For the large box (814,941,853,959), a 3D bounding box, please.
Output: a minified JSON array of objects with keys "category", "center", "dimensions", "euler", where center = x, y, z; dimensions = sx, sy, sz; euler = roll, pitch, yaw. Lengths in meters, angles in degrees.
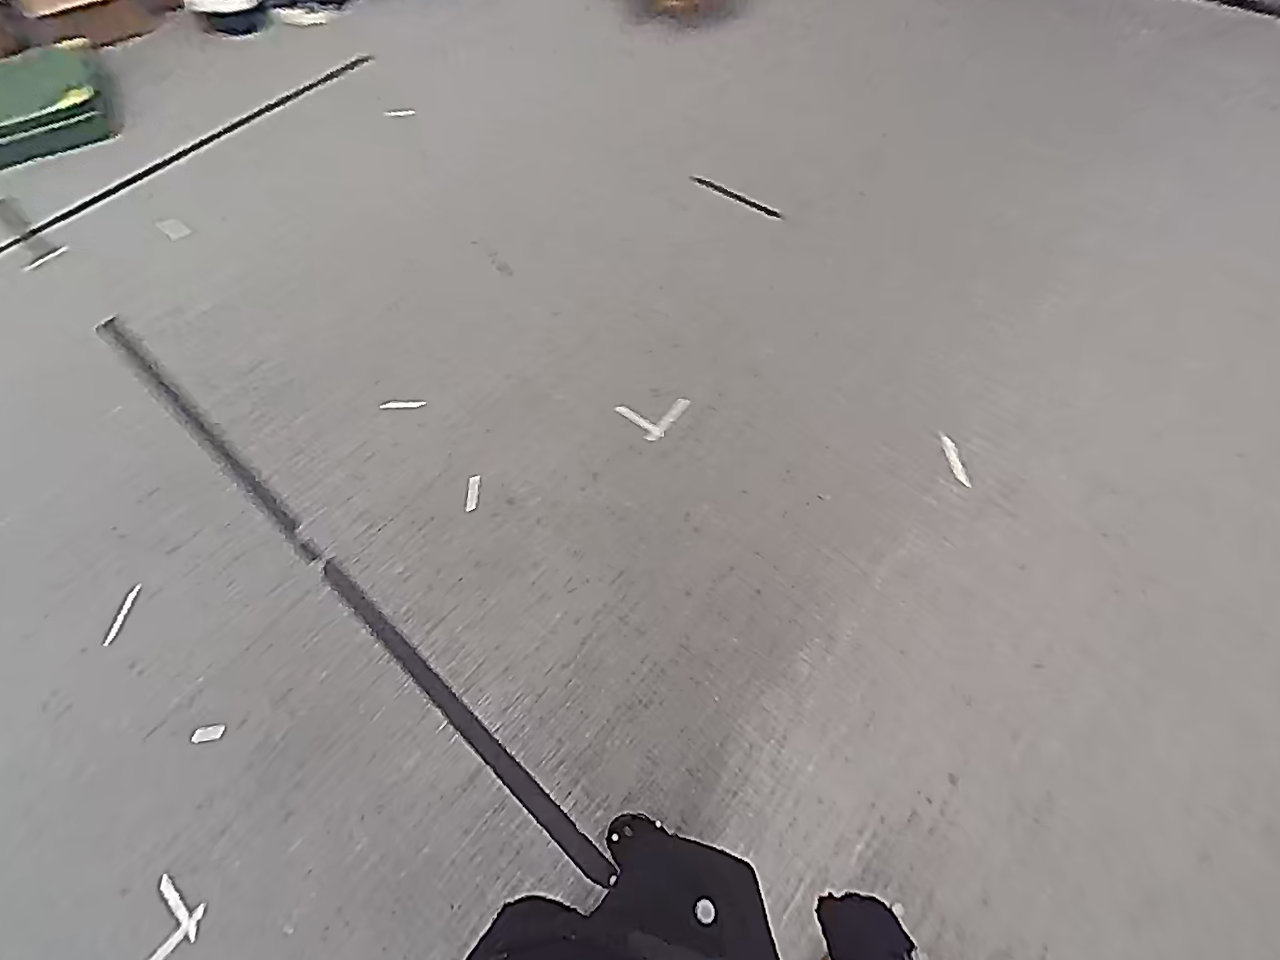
[{"category":"large box","center":[0.333,1.016,0.777],"dimensions":[0.320,0.320,0.408],"euler":[37,70,18]}]
